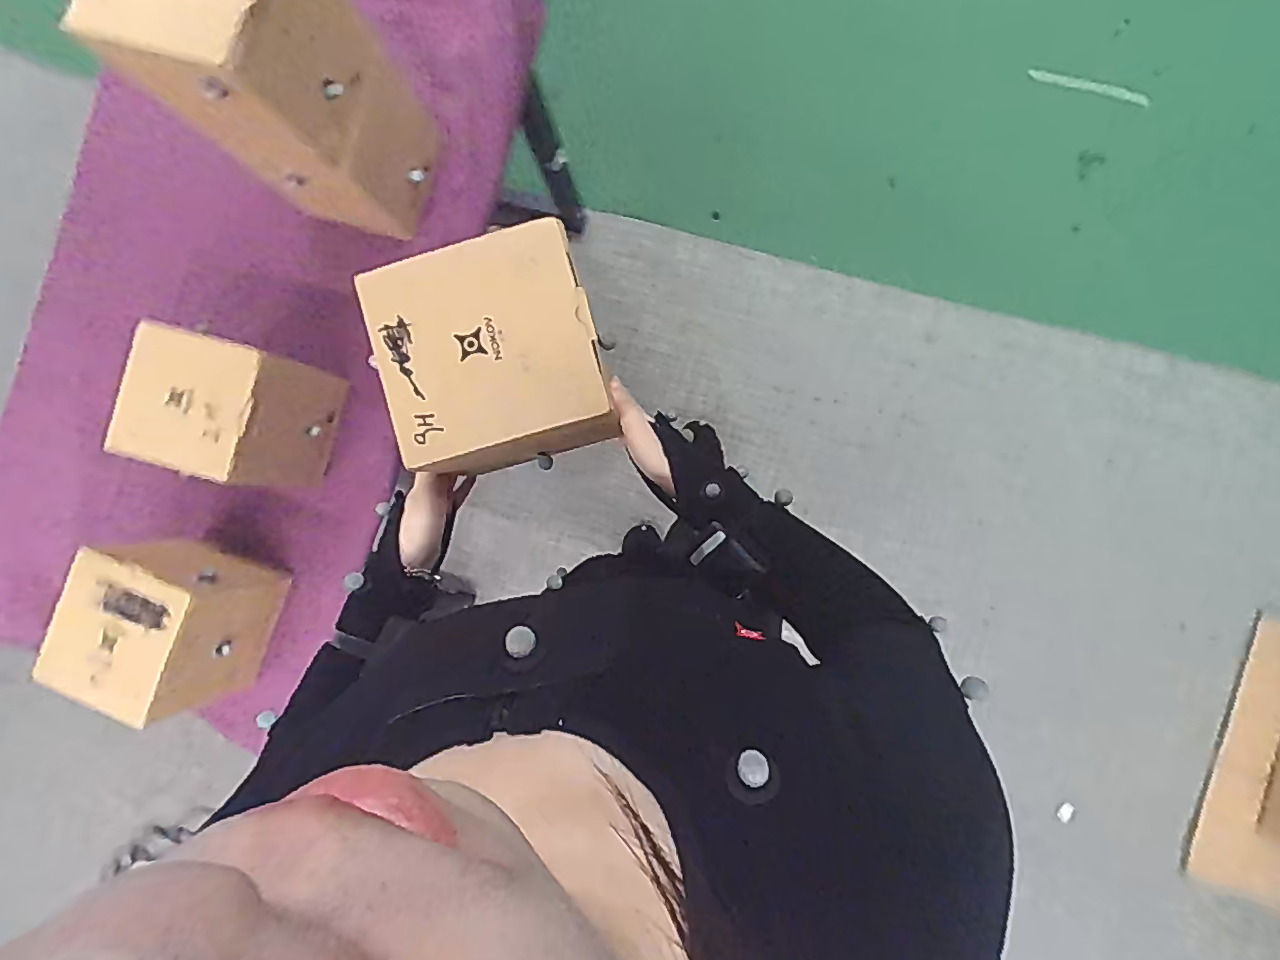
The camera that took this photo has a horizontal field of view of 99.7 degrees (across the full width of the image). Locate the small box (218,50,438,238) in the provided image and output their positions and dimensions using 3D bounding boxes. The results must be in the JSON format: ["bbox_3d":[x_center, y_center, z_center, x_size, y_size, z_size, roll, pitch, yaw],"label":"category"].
[{"bbox_3d":[-0.412,-0.460,0.740,0.179,0.176,0.168,16,90,4],"label":"small box"}]

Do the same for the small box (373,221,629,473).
[{"bbox_3d":[-0.112,-0.107,0.509,0.179,0.176,0.168,-14,87,0],"label":"small box"}]

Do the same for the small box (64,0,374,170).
[{"bbox_3d":[-0.428,-0.468,0.579,0.179,0.176,0.168,15,89,4],"label":"small box"}]

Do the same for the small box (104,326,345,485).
[{"bbox_3d":[-0.548,-0.089,0.735,0.179,0.176,0.168,14,90,6],"label":"small box"}]
